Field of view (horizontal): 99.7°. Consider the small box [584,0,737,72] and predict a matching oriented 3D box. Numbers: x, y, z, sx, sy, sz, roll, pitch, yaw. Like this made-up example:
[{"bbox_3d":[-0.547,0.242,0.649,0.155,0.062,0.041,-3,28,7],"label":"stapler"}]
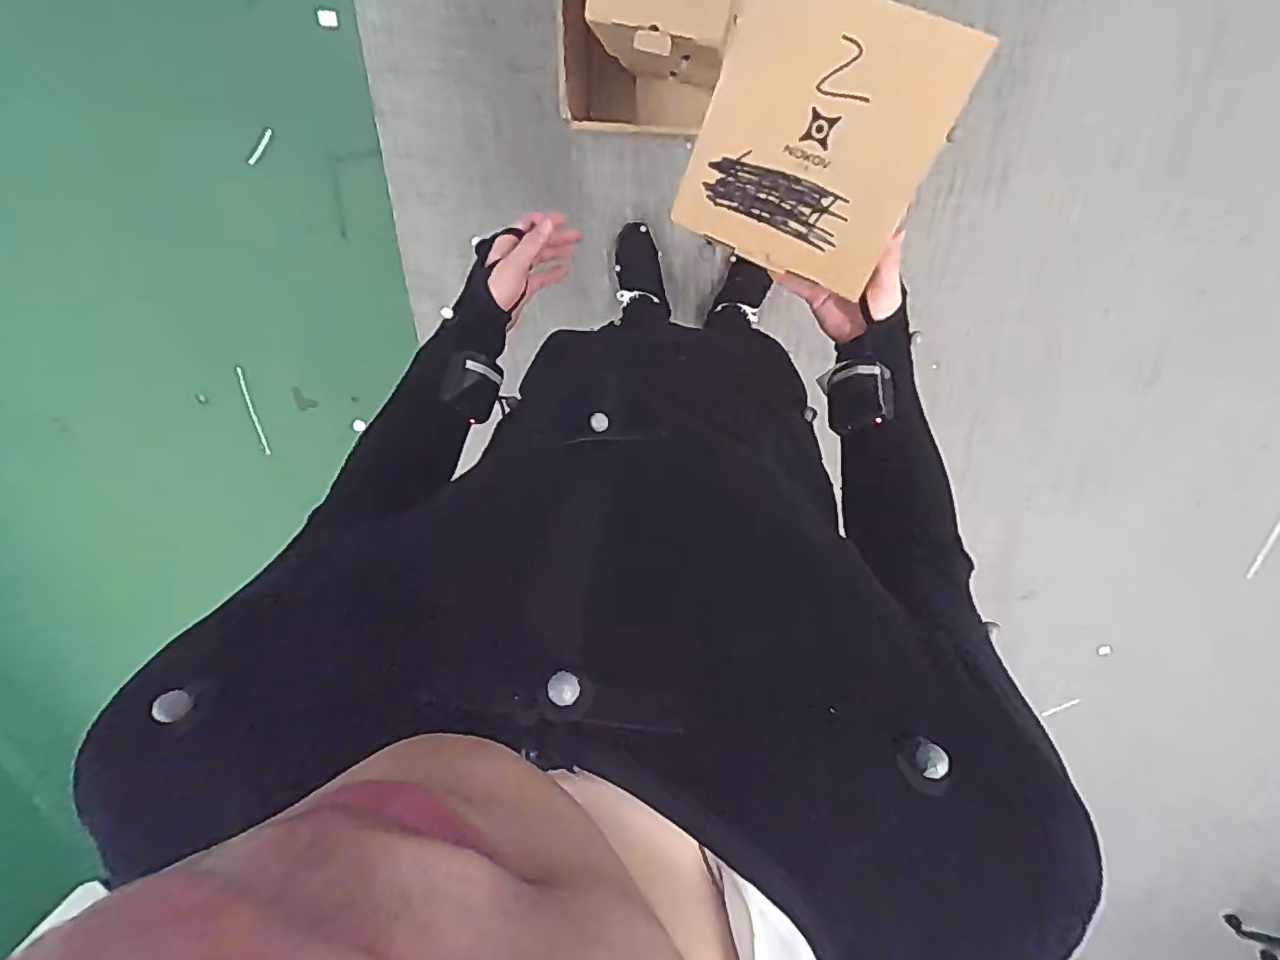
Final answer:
[{"bbox_3d":[0.040,-0.627,0.655,0.168,0.176,0.179,13,117,1],"label":"small box"}]
